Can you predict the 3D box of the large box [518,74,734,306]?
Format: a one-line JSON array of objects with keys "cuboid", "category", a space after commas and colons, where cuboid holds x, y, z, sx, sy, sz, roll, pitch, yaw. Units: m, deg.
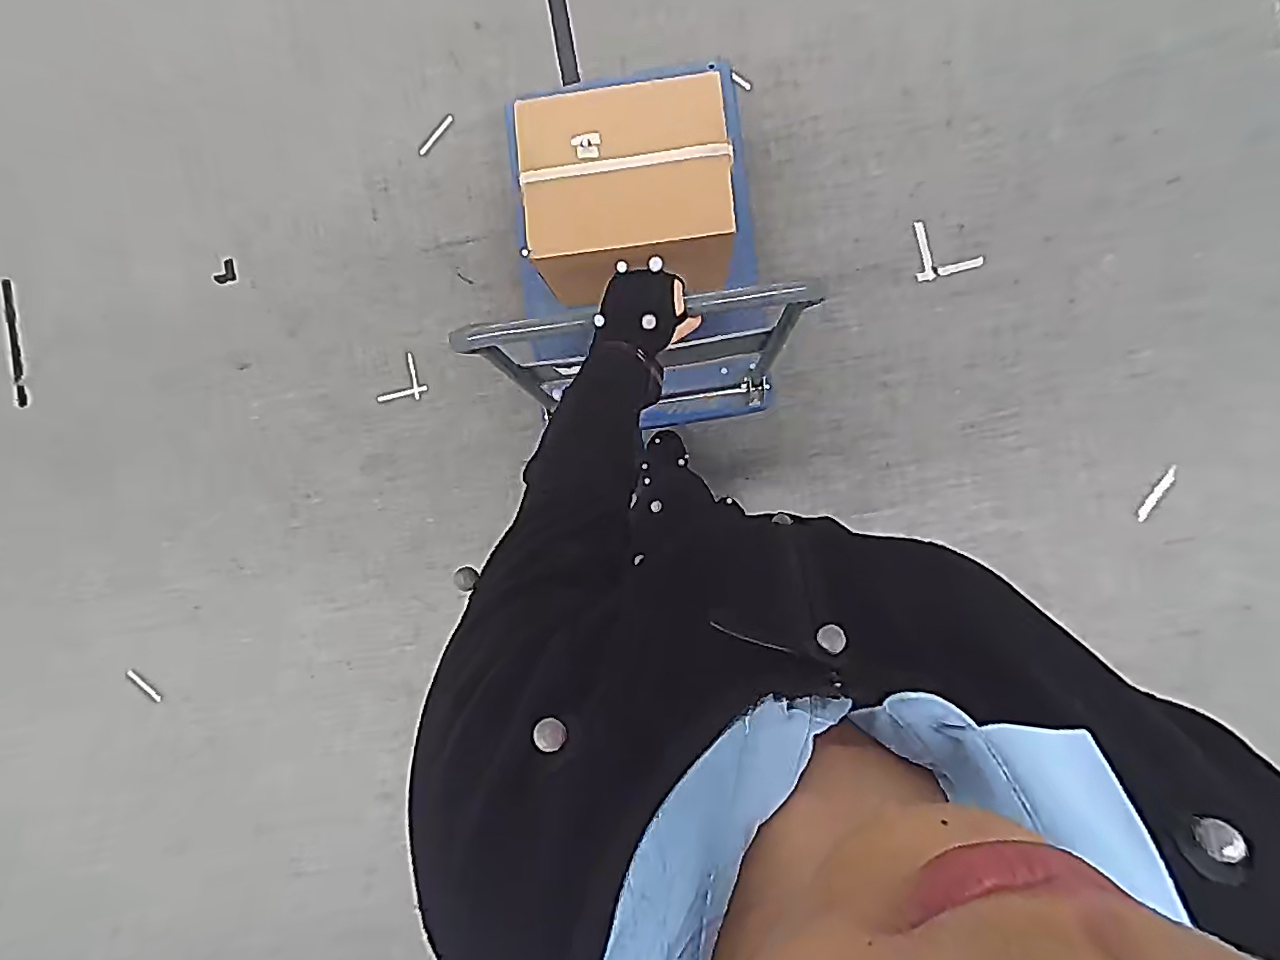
[{"cuboid": [-0.016, -0.607, 1.202, 0.408, 0.320, 0.320, -6, 88, 6], "category": "large box"}]
